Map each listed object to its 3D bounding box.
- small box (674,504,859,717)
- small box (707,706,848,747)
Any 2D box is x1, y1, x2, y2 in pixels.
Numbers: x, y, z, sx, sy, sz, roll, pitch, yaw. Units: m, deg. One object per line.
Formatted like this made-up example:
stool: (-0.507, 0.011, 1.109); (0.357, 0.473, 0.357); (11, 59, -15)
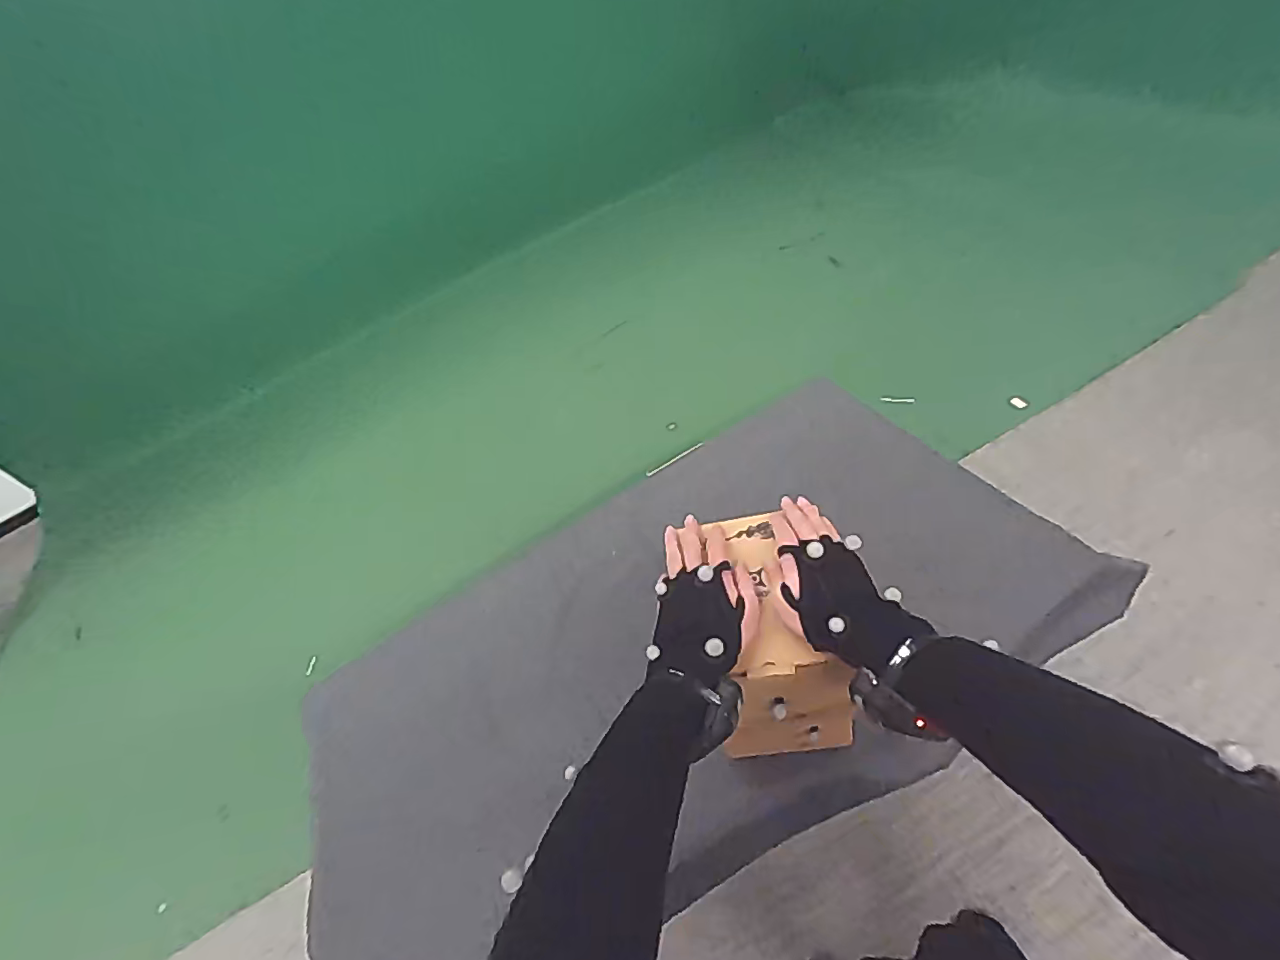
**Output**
small box: (0.140, 0.156, 0.609); (0.168, 0.176, 0.179); (-11, 50, 11)
small box: (0.180, 0.250, 0.736); (0.168, 0.176, 0.179); (-12, 47, 11)
